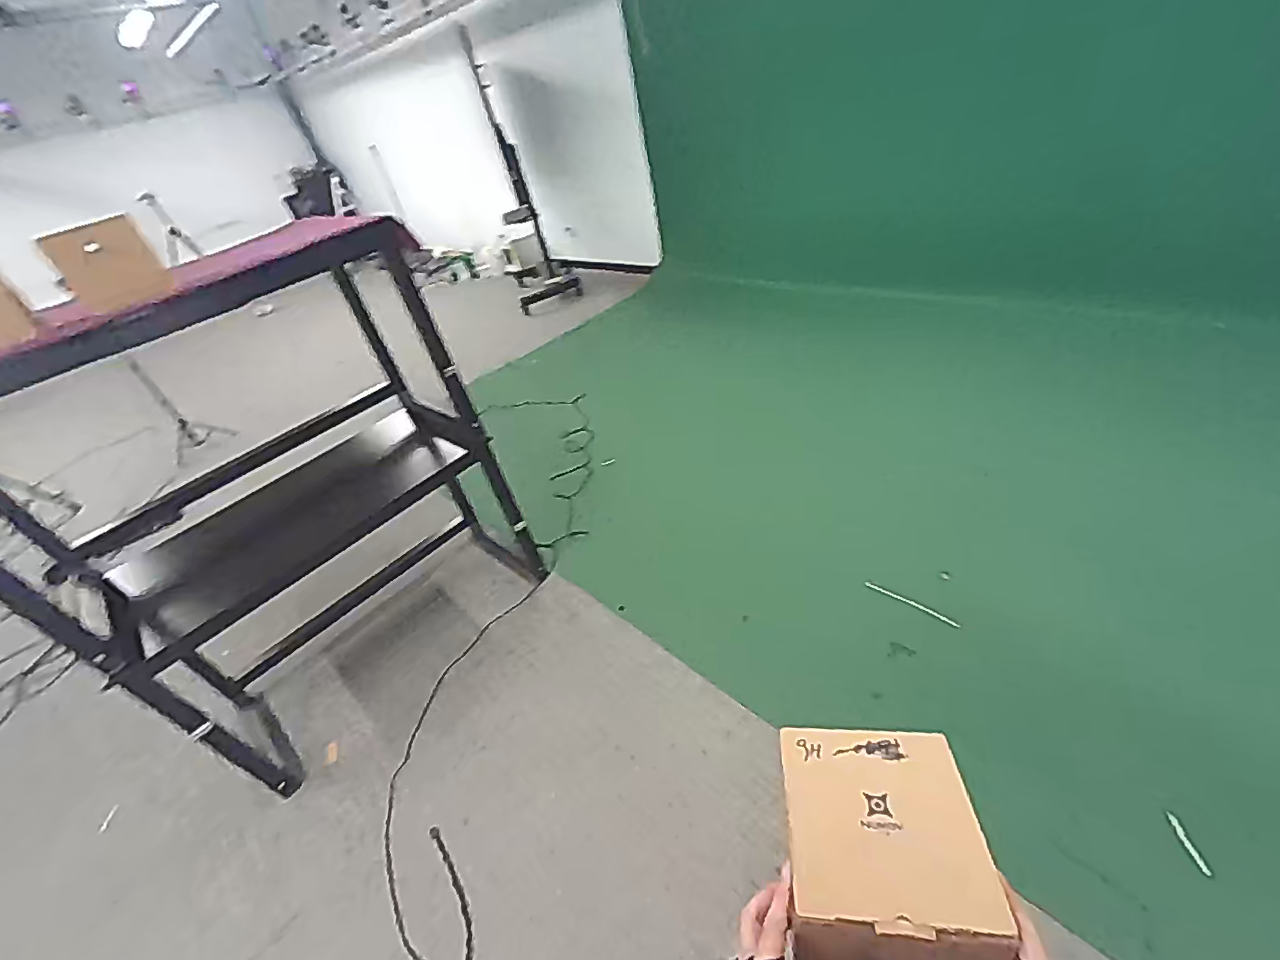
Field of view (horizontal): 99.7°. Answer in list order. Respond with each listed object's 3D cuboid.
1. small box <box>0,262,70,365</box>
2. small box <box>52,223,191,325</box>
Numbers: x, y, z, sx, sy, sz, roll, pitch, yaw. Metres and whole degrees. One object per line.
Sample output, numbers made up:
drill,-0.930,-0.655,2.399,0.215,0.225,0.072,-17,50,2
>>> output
small box,-1.347,-0.332,1.110,0.179,0.176,0.168,-35,40,-27
small box,-1.174,-0.473,1.237,0.168,0.176,0.179,21,50,41
